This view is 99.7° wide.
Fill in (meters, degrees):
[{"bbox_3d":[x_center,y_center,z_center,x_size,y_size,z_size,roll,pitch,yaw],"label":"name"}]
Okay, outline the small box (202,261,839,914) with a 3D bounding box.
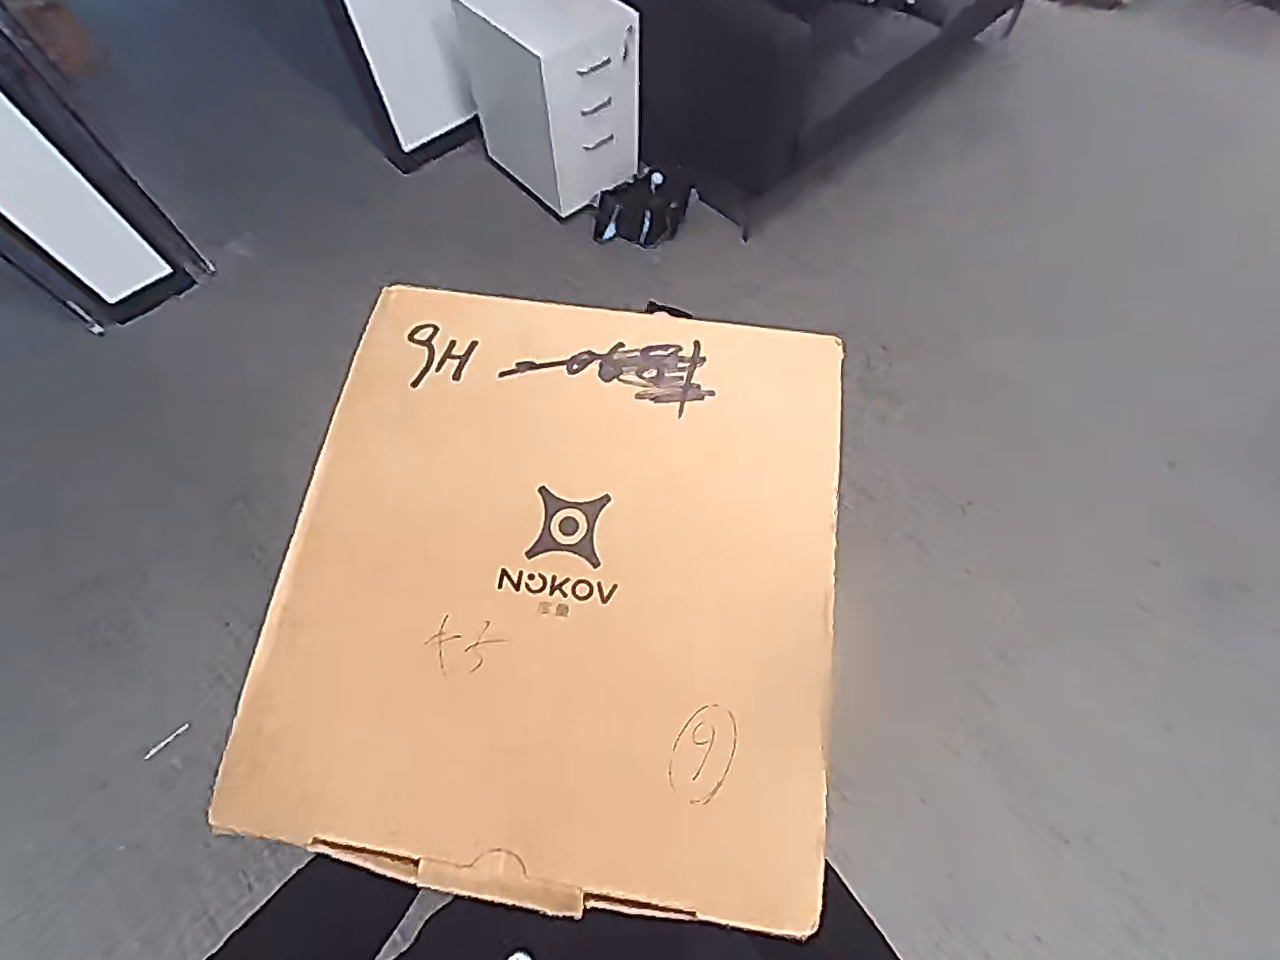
[{"bbox_3d":[-0.026,0.037,0.239,0.168,0.176,0.179,8,75,2],"label":"small box"}]
